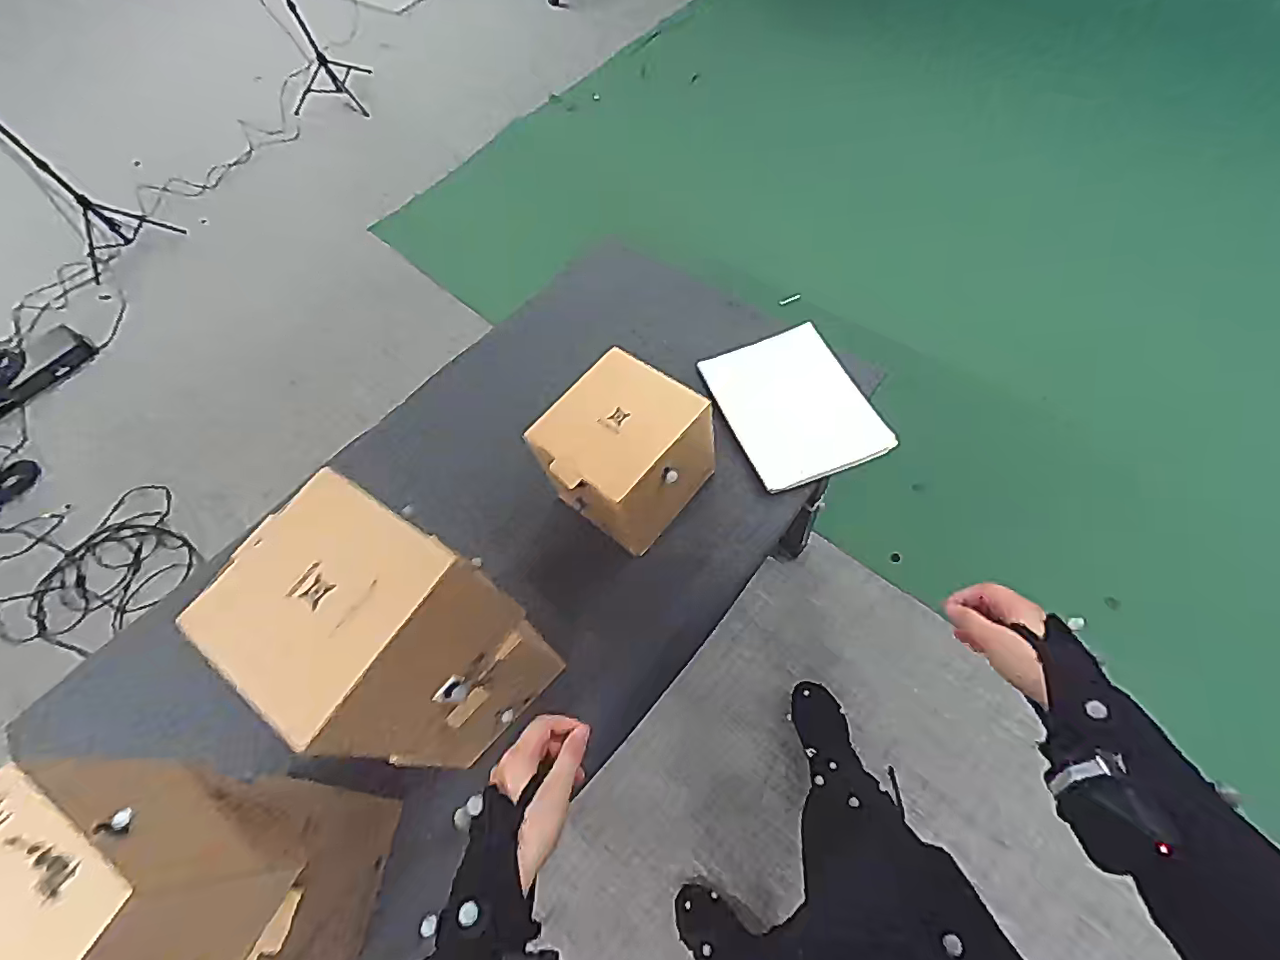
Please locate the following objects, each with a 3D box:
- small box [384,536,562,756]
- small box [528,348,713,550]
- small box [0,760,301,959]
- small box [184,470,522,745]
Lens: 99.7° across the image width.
[{"bbox_3d":[-0.223,0.203,0.641,0.179,0.176,0.168,39,75,25],"label":"small box"},{"bbox_3d":[-0.016,-0.038,0.735,0.168,0.176,0.179,35,73,25],"label":"small box"},{"bbox_3d":[-0.416,0.341,0.413,0.168,0.176,0.179,21,69,20],"label":"small box"},{"bbox_3d":[-0.243,0.125,0.500,0.179,0.176,0.168,27,71,21],"label":"small box"}]
